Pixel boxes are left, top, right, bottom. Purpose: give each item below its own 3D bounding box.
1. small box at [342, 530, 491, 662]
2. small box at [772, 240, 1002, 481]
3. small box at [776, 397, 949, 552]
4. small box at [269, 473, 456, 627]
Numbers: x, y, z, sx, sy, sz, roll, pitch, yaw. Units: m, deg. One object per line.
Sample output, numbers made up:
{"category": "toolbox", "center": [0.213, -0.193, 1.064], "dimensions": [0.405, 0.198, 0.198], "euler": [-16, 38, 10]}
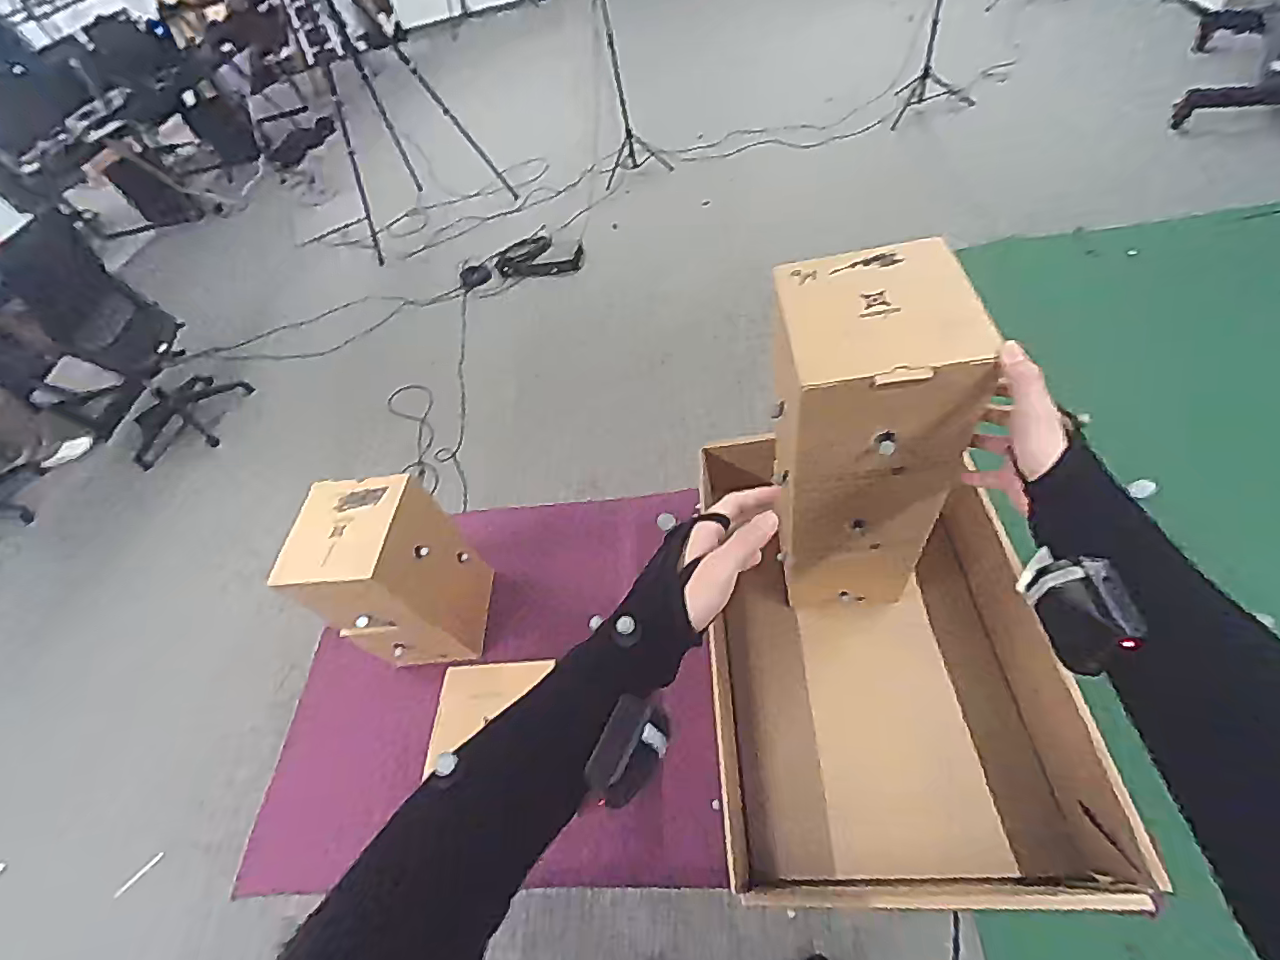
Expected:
{"category": "small box", "center": [-0.380, 0.212, 0.957], "dimensions": [0.168, 0.176, 0.179], "euler": [-8, 51, 8]}
{"category": "small box", "center": [0.232, -0.111, 0.561], "dimensions": [0.168, 0.176, 0.179], "euler": [-7, 55, 9]}
{"category": "small box", "center": [0.266, -0.017, 0.690], "dimensions": [0.168, 0.176, 0.179], "euler": [-5, 54, 11]}
{"category": "small box", "center": [-0.405, 0.111, 0.830], "dimensions": [0.168, 0.176, 0.179], "euler": [-5, 53, 11]}
